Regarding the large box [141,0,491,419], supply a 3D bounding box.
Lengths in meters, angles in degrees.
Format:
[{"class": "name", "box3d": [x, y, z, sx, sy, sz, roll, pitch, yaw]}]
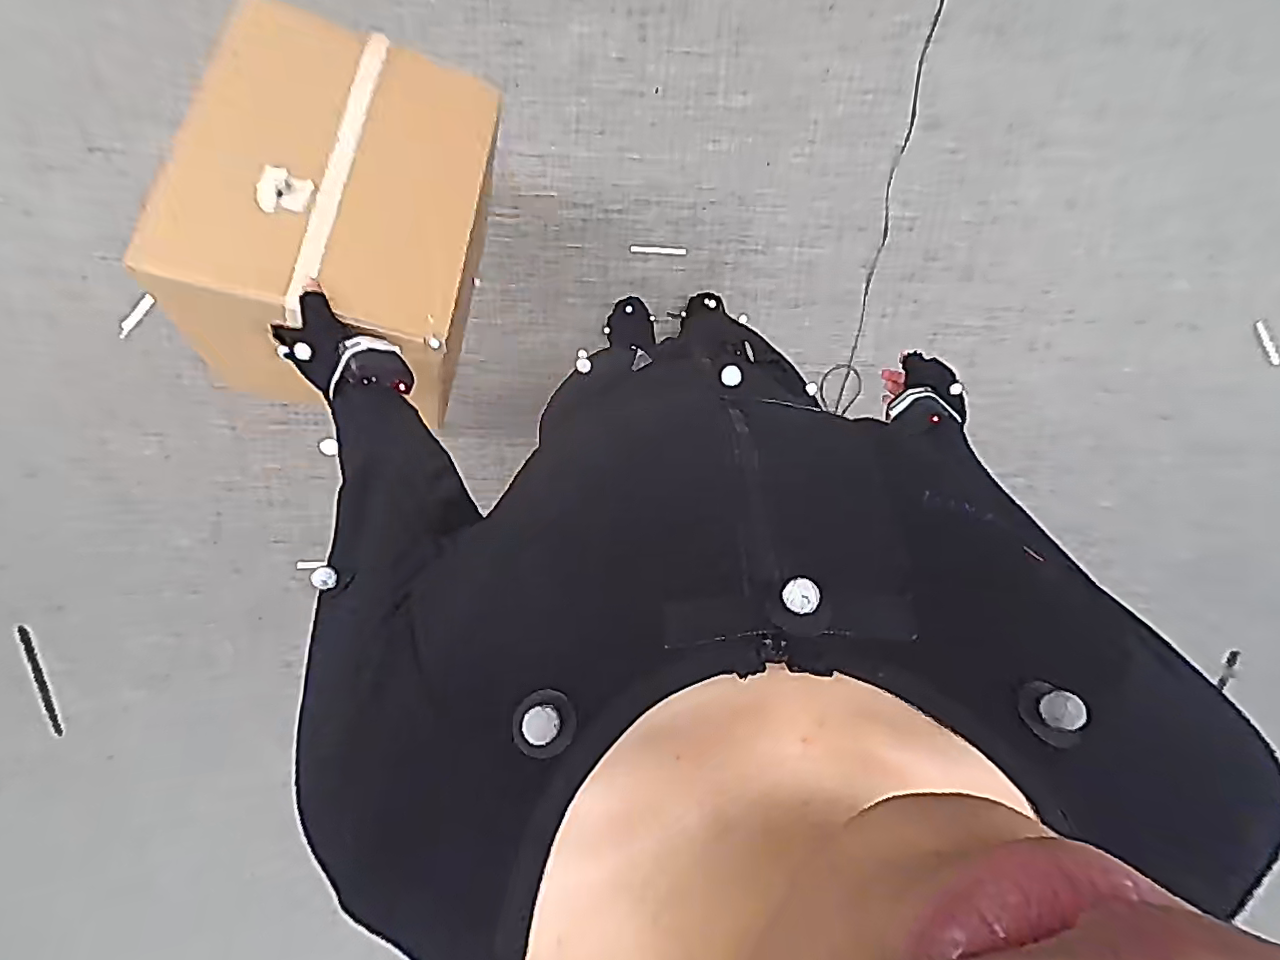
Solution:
[{"class": "large box", "box3d": [-0.418, -0.349, 0.798, 0.320, 0.320, 0.408, 10, 75, -17]}]
